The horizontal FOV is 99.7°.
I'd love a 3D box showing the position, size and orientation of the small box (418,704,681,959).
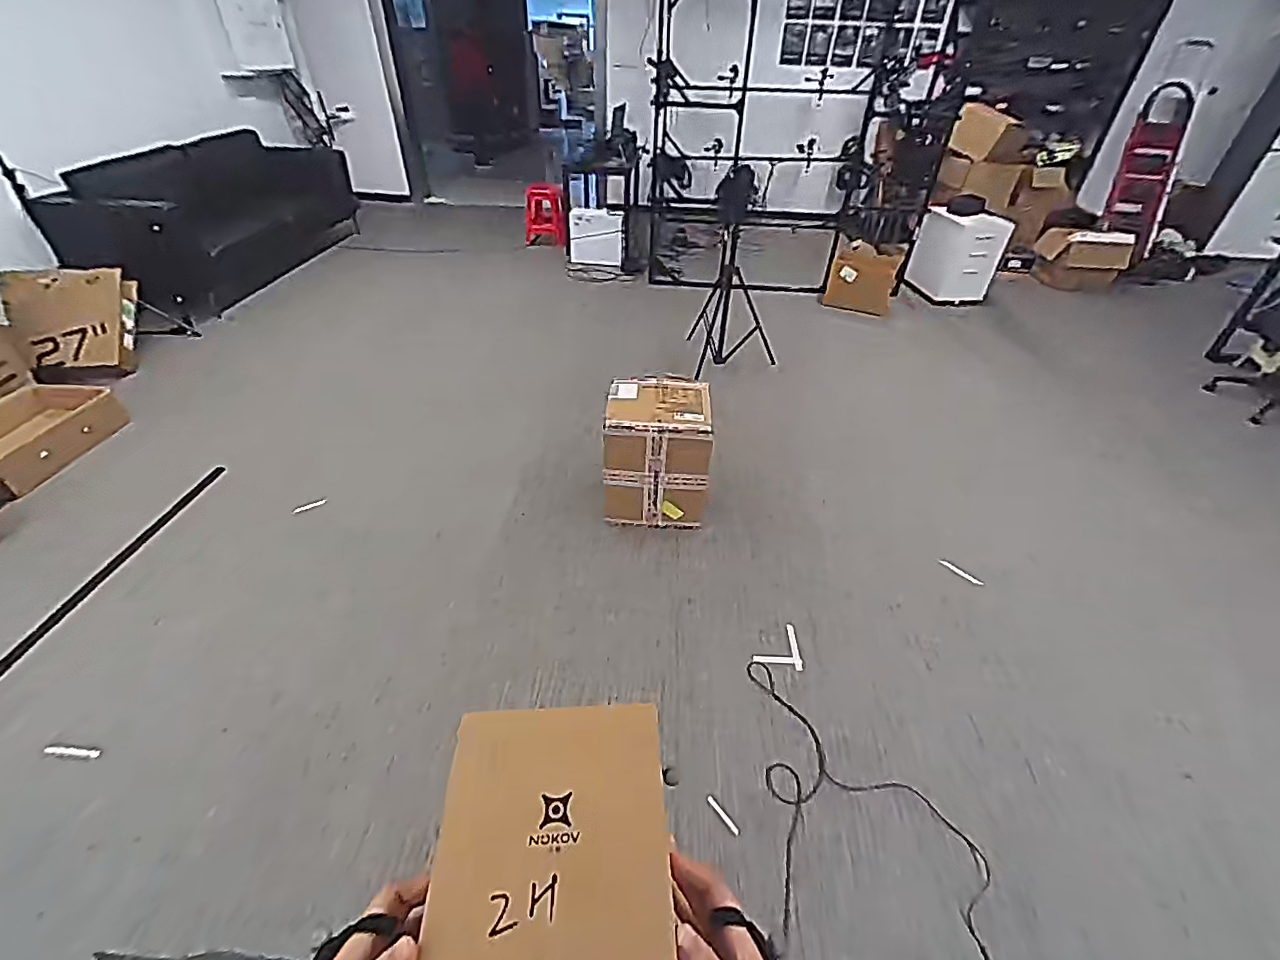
[{"bbox_3d":[-0.060,0.310,0.446,0.168,0.176,0.179,-2,41,-2],"label":"small box"}]
